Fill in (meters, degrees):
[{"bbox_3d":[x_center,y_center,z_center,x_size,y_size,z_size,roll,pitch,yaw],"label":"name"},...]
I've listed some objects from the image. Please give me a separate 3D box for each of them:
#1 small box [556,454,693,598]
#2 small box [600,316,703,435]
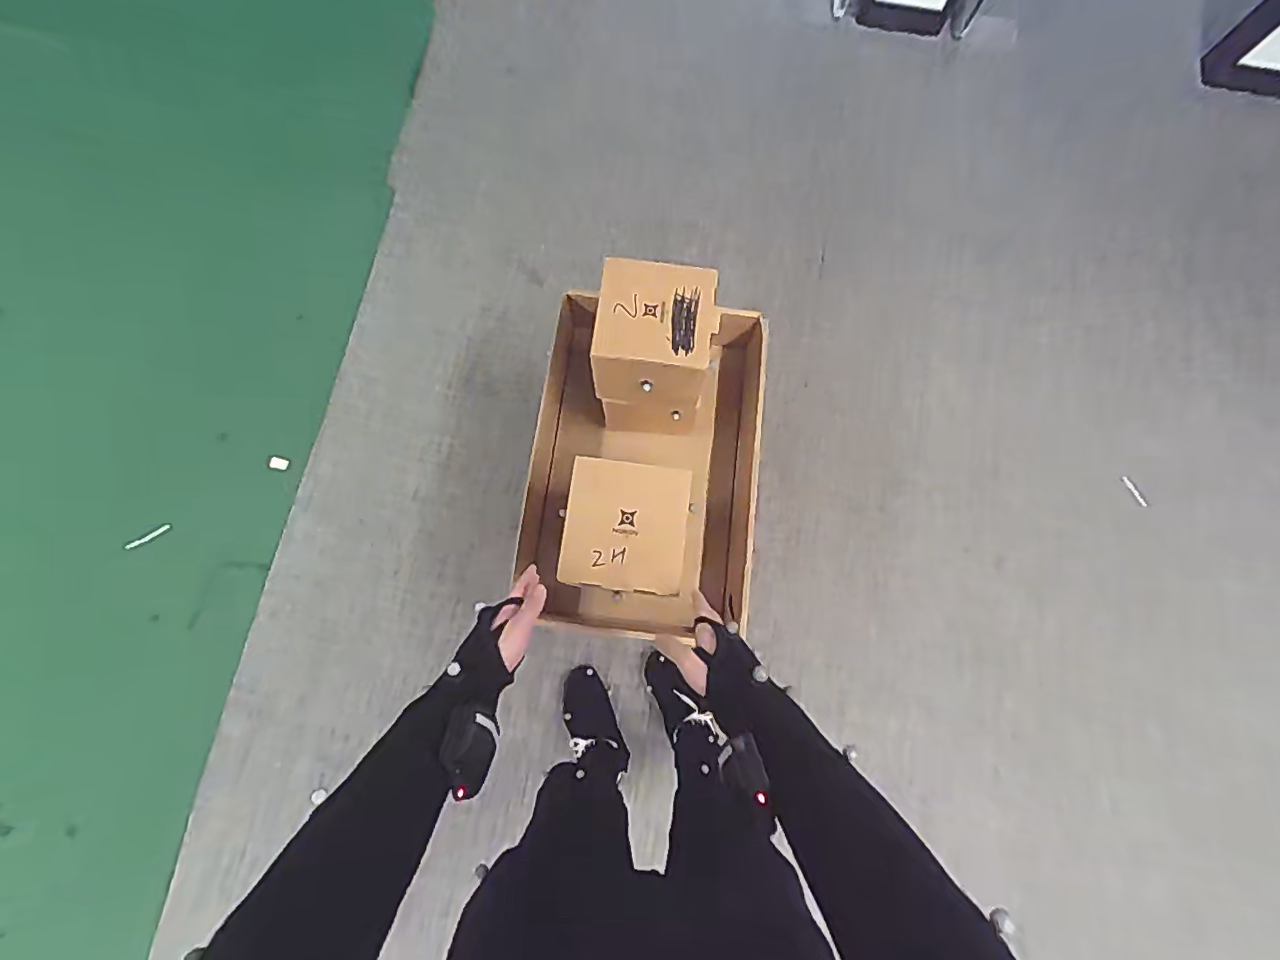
[{"bbox_3d":[-0.021,0.076,0.801,0.168,0.176,0.179,8,78,1],"label":"small box"},{"bbox_3d":[0.020,-0.192,1.034,0.179,0.176,0.168,4,77,-2],"label":"small box"}]
